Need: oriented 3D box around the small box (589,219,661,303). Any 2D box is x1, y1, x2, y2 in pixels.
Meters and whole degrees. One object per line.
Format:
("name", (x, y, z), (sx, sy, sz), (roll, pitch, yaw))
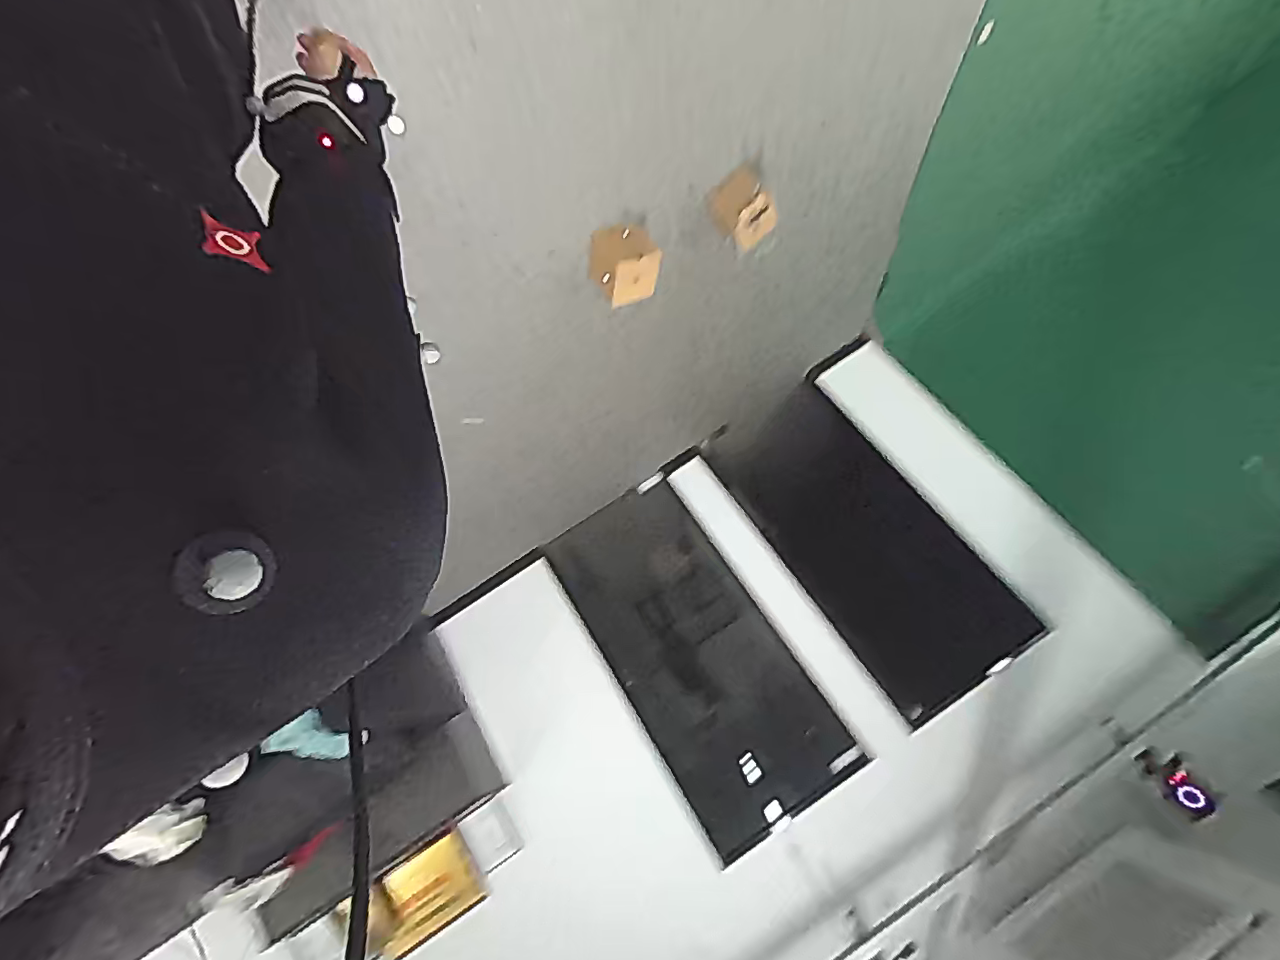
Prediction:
("small box", (-0.057, -0.721, 1.779), (0.168, 0.176, 0.179), (-25, 156, -22))
